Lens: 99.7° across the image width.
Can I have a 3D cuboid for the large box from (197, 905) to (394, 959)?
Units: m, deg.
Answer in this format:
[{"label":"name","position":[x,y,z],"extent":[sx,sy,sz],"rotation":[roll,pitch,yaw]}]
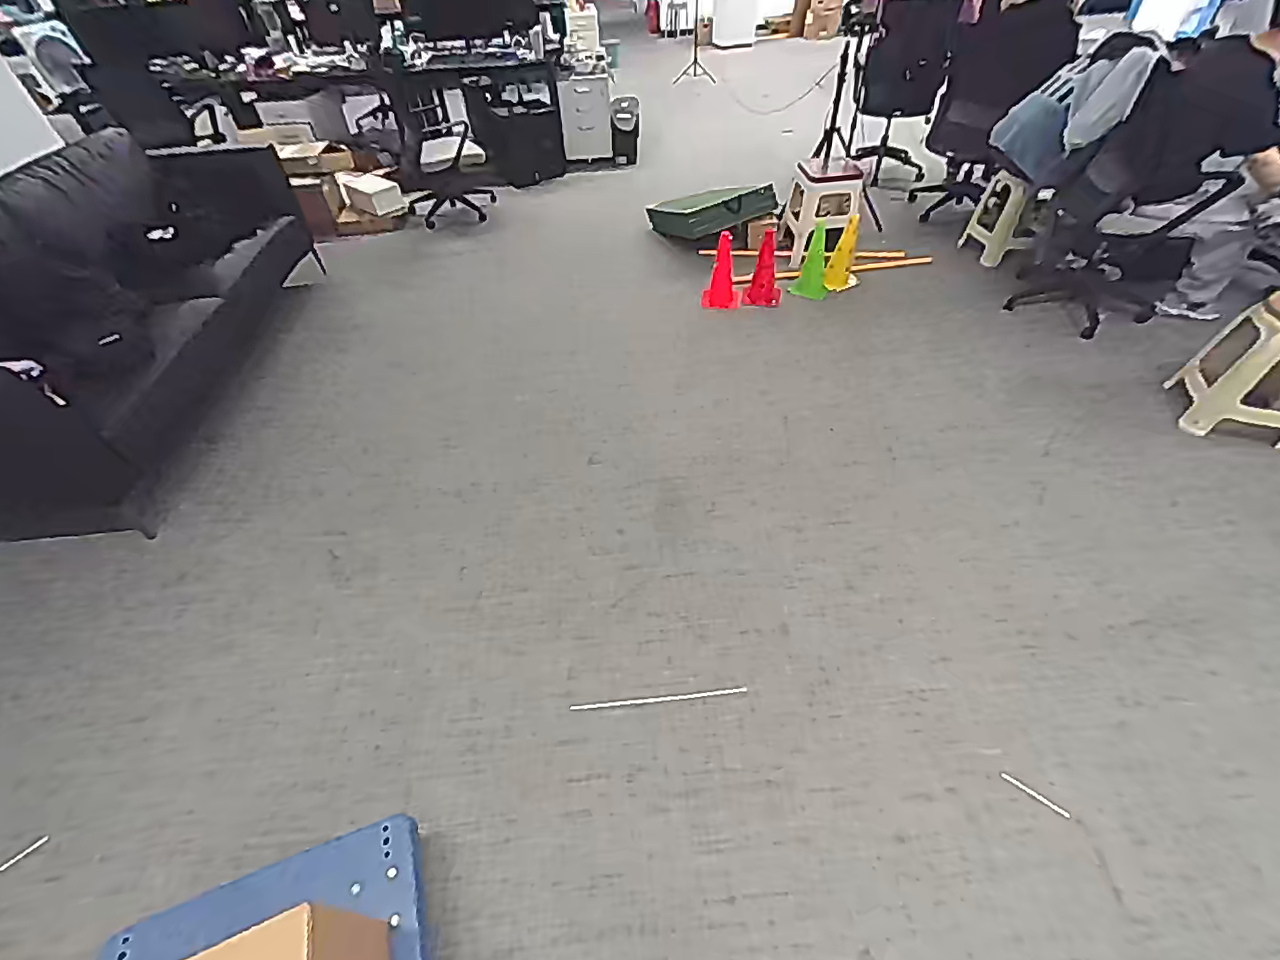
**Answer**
[{"label":"large box","position":[-0.600,0.905,0.781],"extent":[0.408,0.320,0.320],"rotation":[-21,48,-14]}]
